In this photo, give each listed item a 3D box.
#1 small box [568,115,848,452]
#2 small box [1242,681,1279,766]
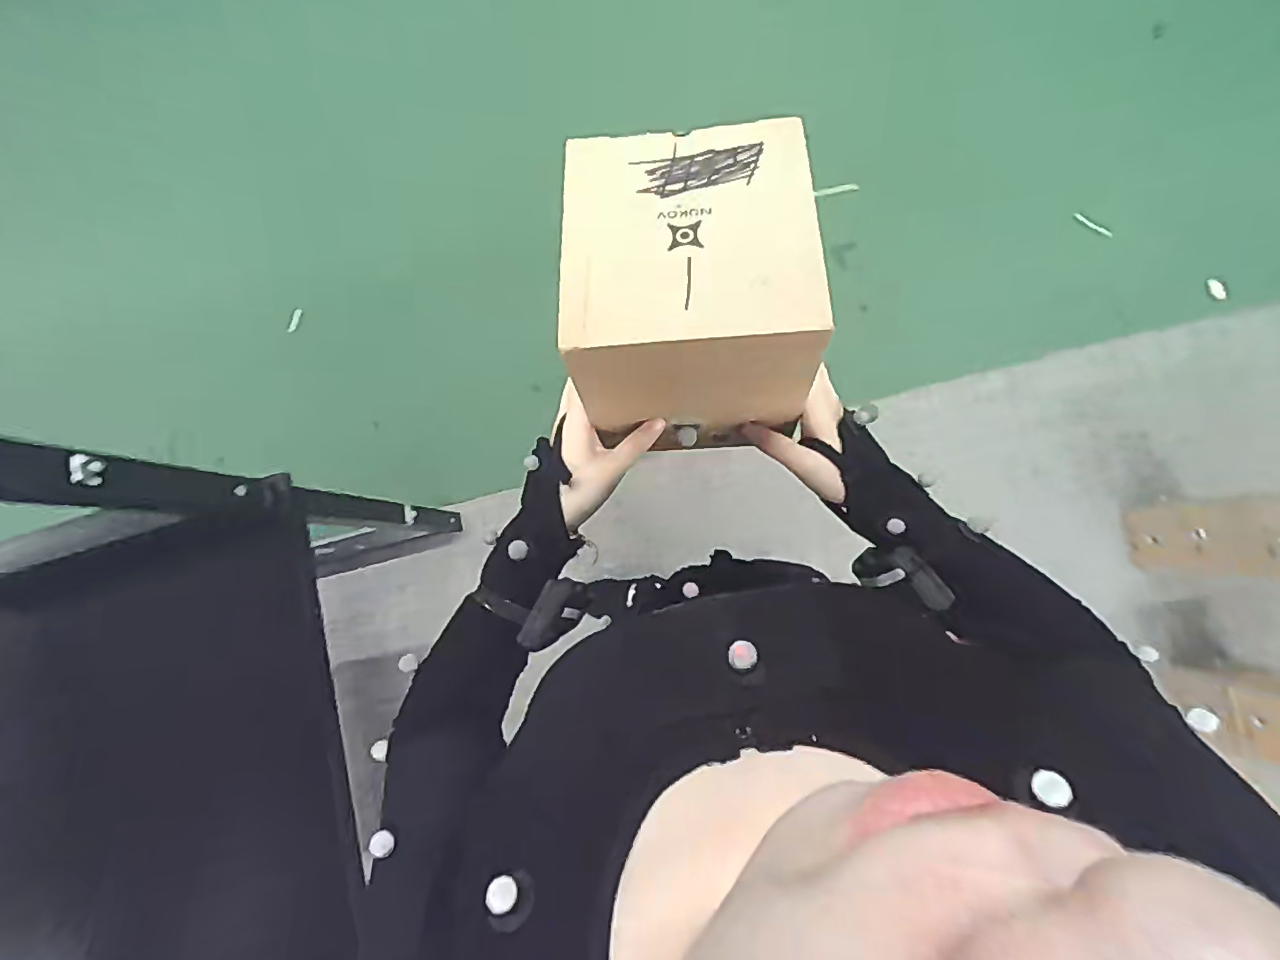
[{"bbox_3d":[0.046,-0.136,0.417,0.168,0.176,0.179,-2,70,6],"label":"small box"},{"bbox_3d":[1.442,0.520,1.124,0.179,0.176,0.168,-6,82,4],"label":"small box"}]
